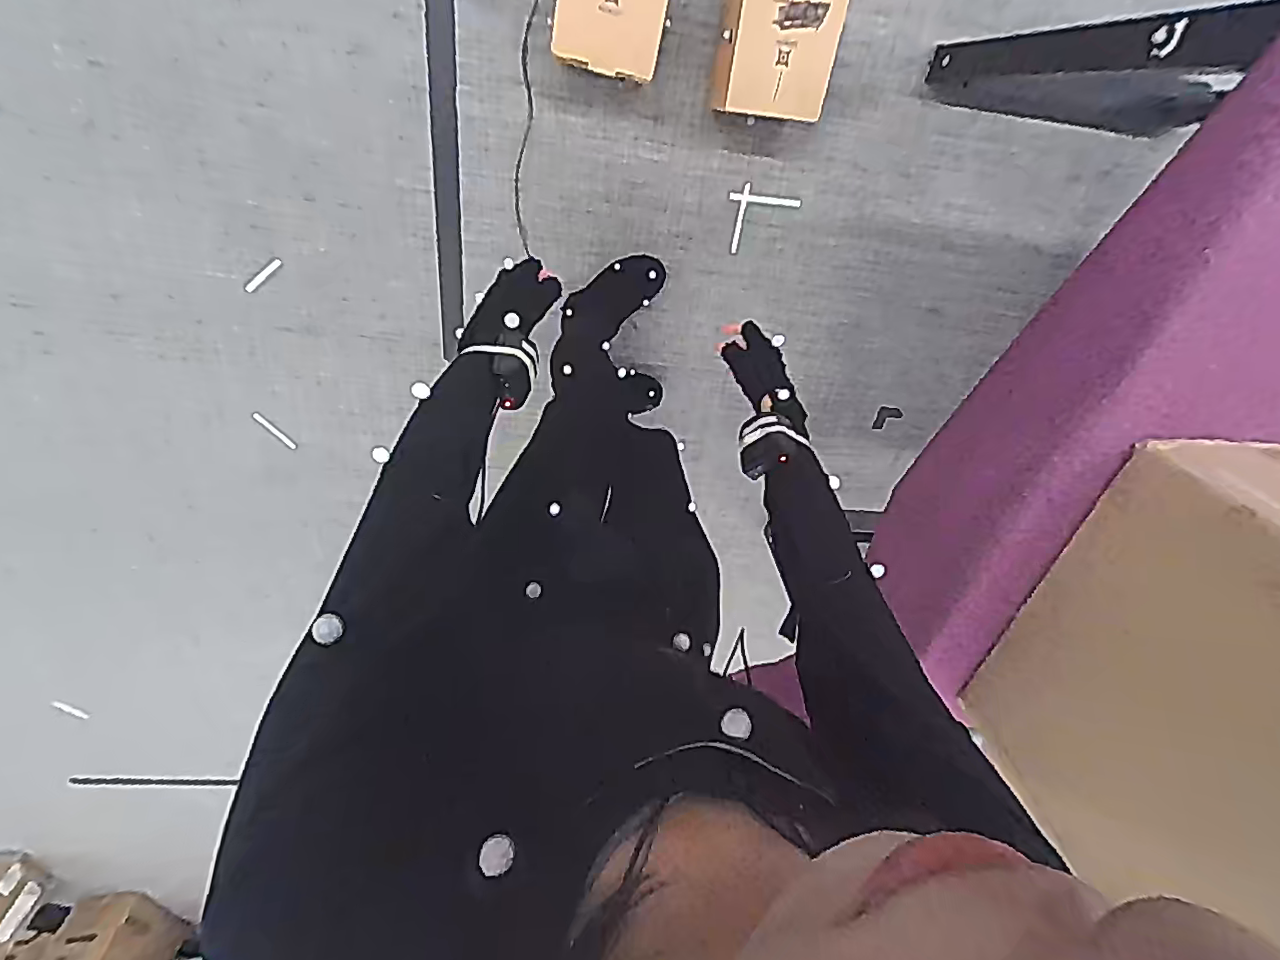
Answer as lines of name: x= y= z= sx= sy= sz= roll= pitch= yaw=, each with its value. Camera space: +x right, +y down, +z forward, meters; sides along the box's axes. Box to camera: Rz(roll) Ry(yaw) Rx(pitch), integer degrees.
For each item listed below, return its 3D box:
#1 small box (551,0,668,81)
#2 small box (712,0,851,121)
small box: x=-0.046 y=-0.764 z=0.866 sx=0.168 sy=0.176 sz=0.179 roll=8 pitch=123 yaw=-11
small box: x=0.225 y=-0.723 z=0.913 sx=0.168 sy=0.176 sz=0.179 roll=3 pitch=125 yaw=-7
